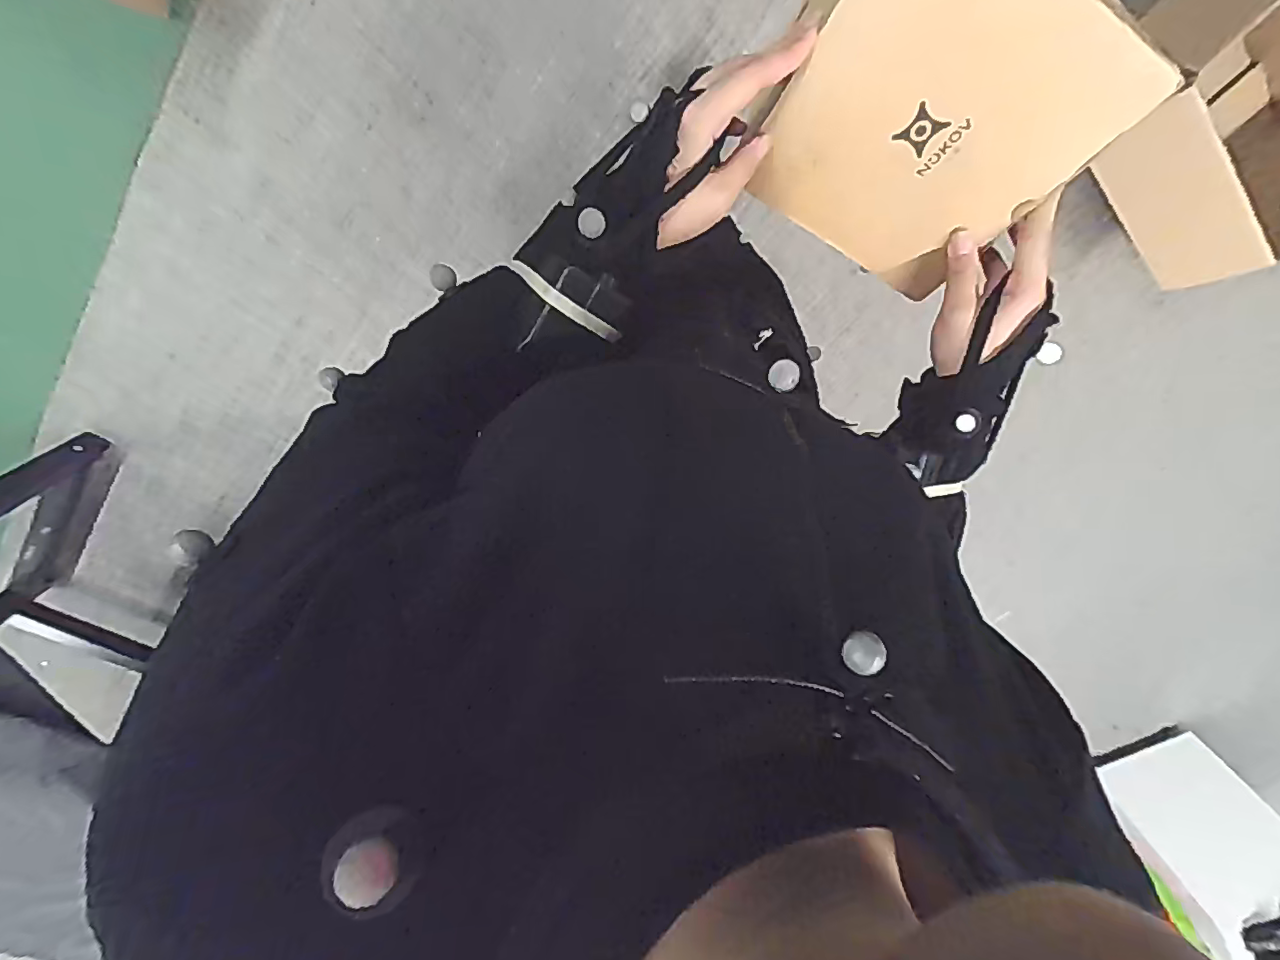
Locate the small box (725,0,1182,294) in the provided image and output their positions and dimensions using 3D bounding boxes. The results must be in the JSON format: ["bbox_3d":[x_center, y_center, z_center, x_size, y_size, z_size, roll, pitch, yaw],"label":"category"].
[{"bbox_3d":[0.180,-0.270,0.358,0.179,0.176,0.168,25,144,-15],"label":"small box"}]
